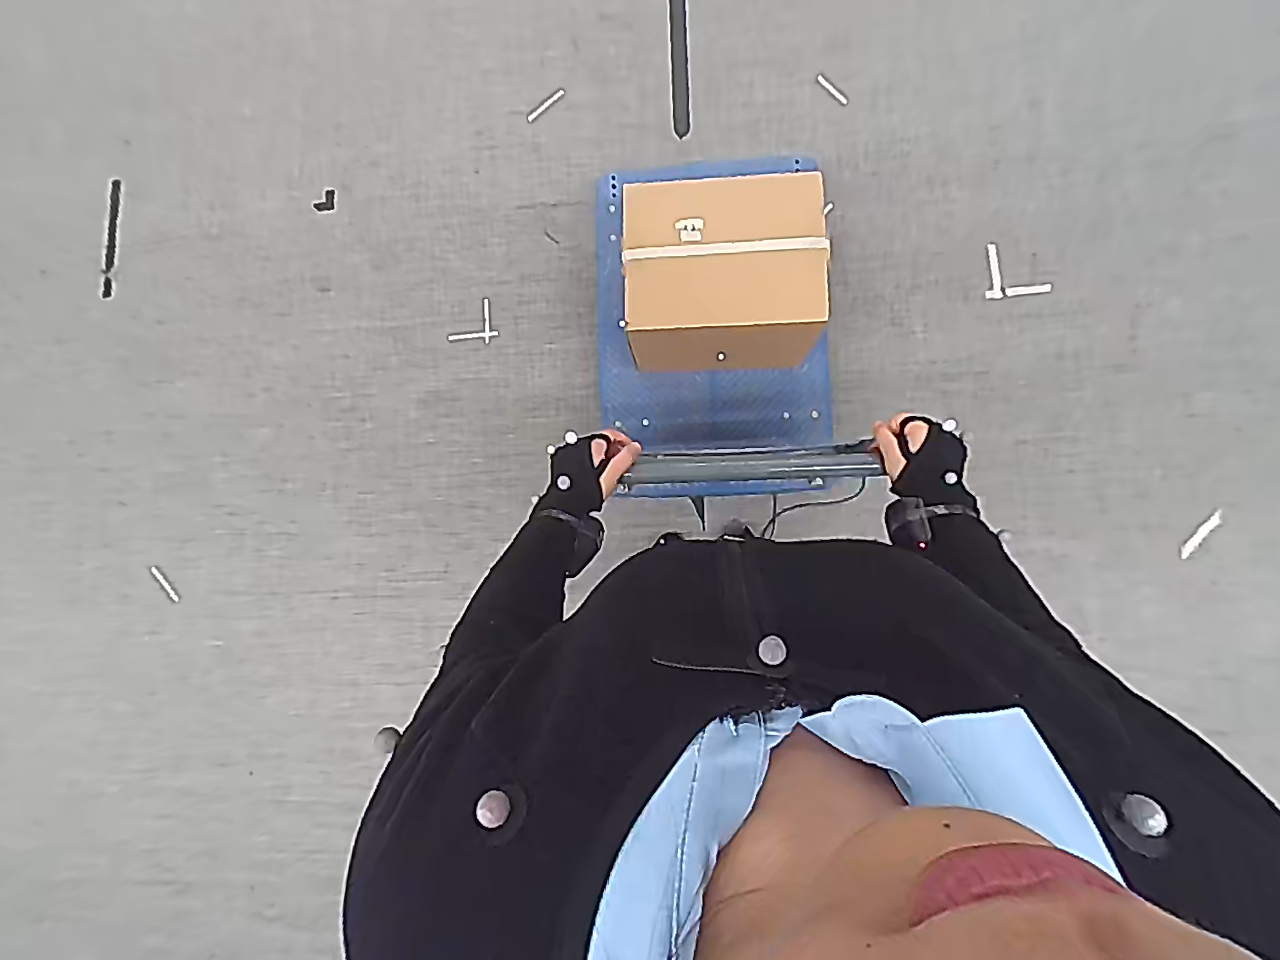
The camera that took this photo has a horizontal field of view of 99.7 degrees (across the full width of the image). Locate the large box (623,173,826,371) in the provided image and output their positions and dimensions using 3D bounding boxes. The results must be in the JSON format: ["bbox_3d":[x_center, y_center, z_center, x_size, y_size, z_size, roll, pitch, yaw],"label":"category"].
[{"bbox_3d":[0.184,-0.452,1.250,0.408,0.320,0.320,-2,84,6],"label":"large box"}]
